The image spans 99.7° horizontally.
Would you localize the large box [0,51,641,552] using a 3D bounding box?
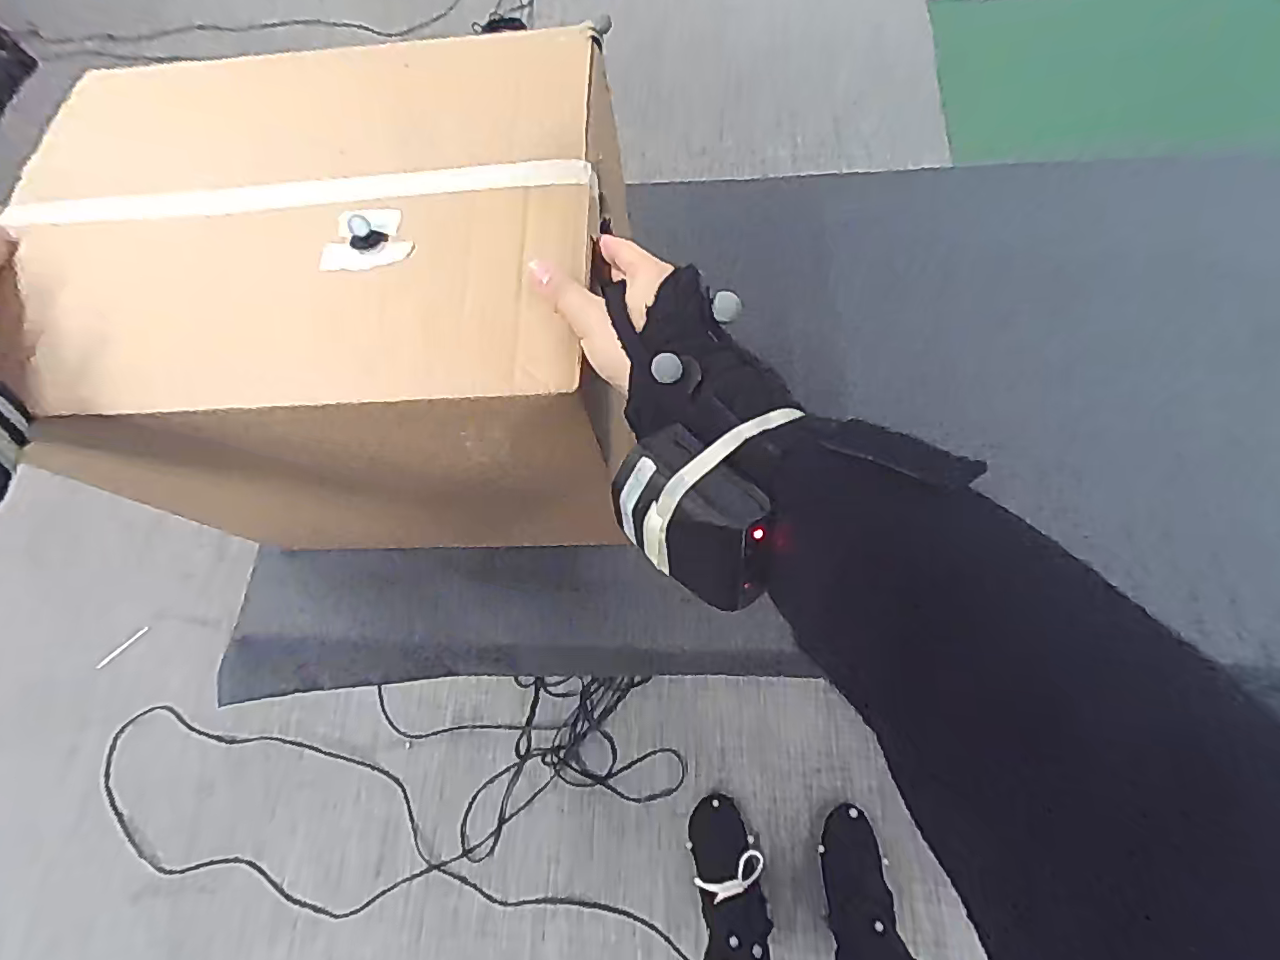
[{"bbox_3d":[-0.208,-0.125,0.504,0.408,0.320,0.320,-2,68,3],"label":"large box"}]
